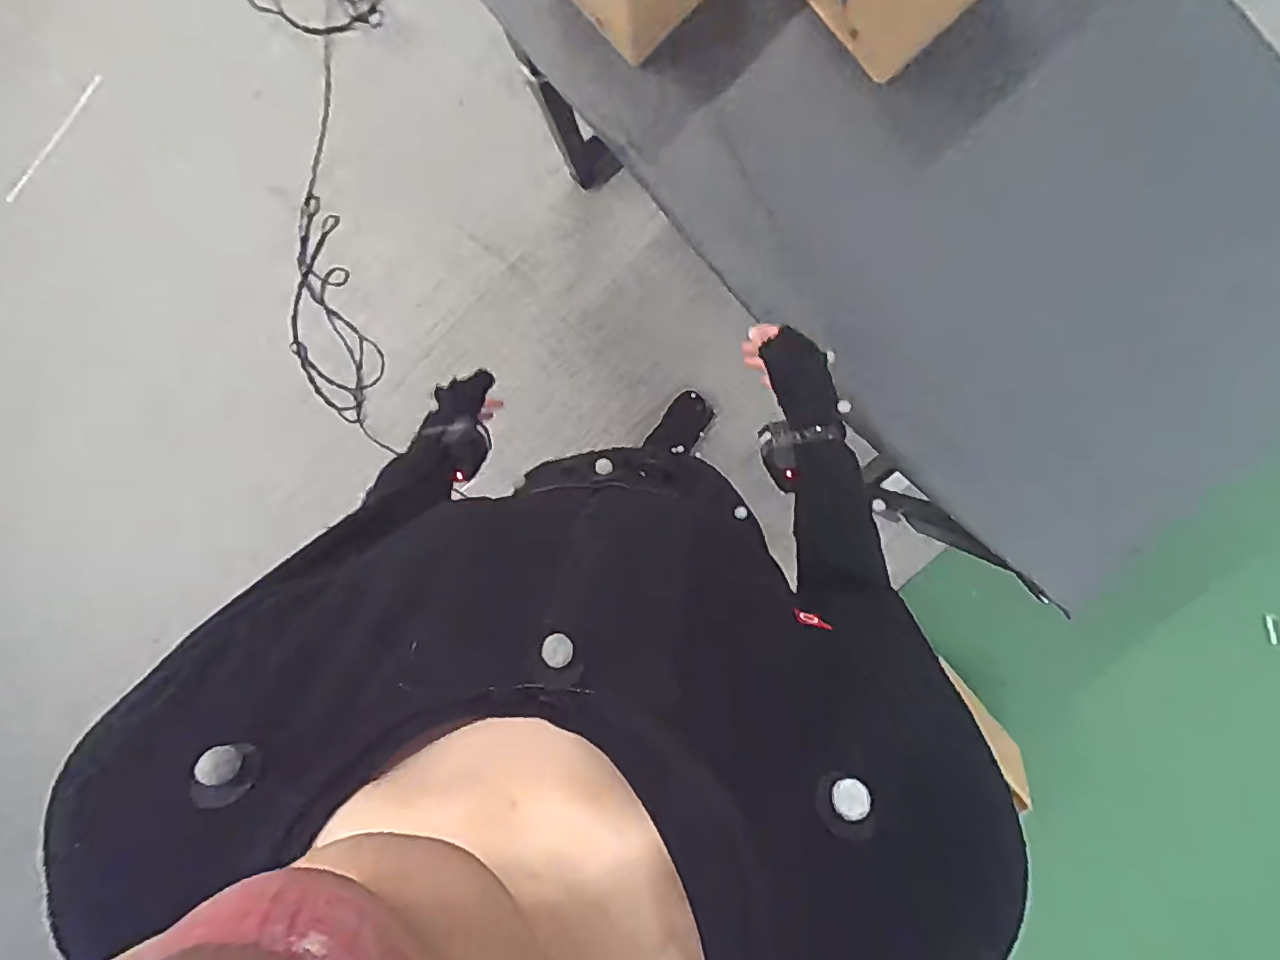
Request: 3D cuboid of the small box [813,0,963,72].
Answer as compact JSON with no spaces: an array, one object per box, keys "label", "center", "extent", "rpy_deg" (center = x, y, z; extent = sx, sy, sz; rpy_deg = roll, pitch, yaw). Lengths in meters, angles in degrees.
[{"label":"small box","center":[0.297,-0.602,0.572],"extent":[0.179,0.176,0.168],"rpy_deg":[-41,91,8]}]
